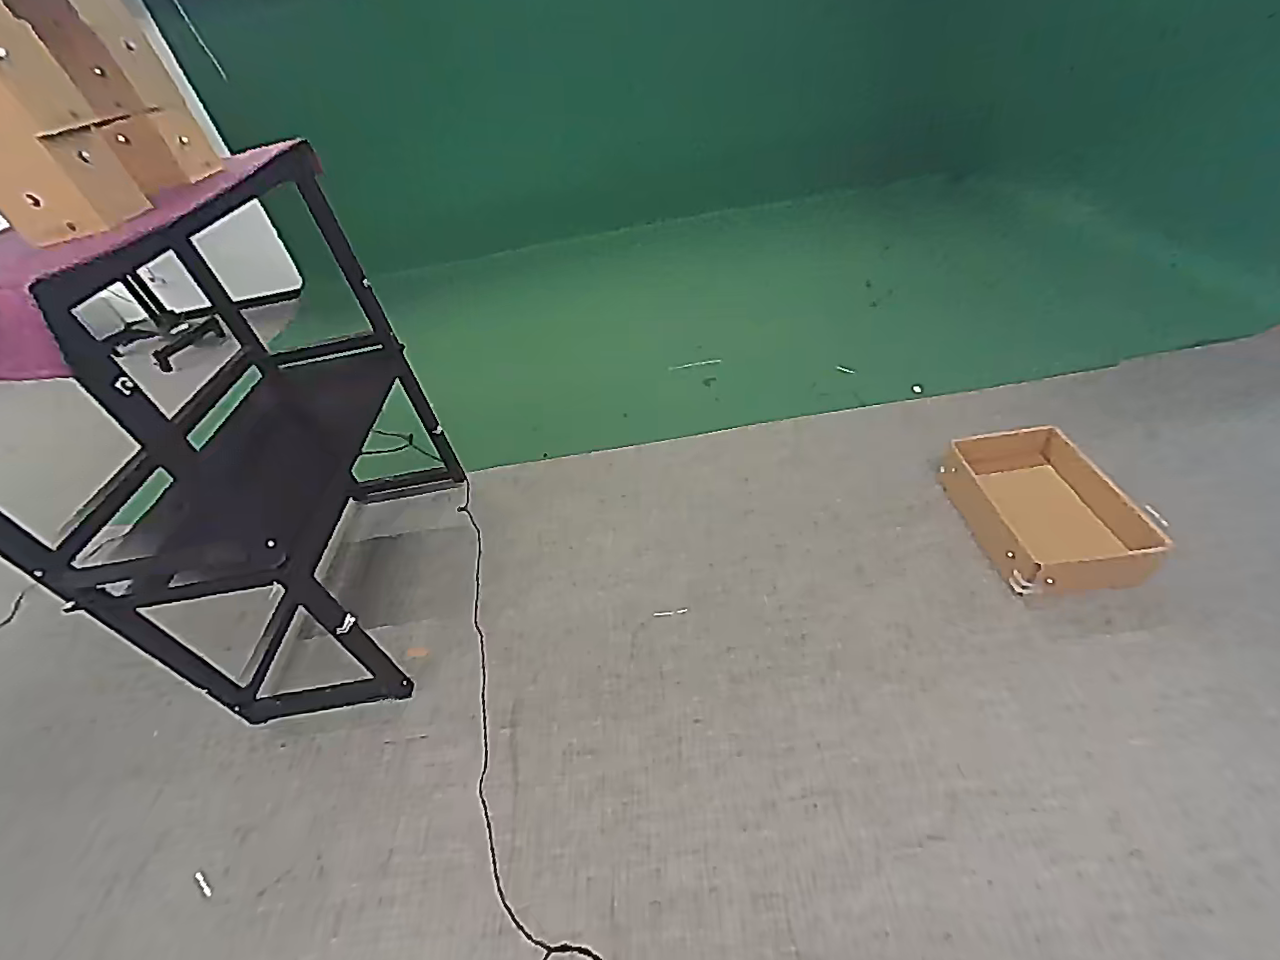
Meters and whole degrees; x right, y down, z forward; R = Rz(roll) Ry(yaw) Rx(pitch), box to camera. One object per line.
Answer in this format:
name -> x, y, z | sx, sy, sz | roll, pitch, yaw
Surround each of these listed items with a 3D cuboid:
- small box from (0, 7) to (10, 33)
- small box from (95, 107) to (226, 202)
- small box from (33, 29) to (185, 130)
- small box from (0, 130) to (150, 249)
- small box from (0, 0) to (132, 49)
small box -> -1.248, -0.835, 0.905 | 0.168, 0.176, 0.179 | -14, 41, 1
small box -> -1.280, -0.875, 1.457 | 0.179, 0.176, 0.168 | -9, 42, 7
small box -> -1.302, -0.993, 1.346 | 0.168, 0.176, 0.179 | -11, 41, 4
small box -> -1.186, -0.595, 1.118 | 0.168, 0.176, 0.179 | -13, 41, 0
small box -> -1.343, -1.112, 1.240 | 0.168, 0.176, 0.179 | -9, 41, 5
